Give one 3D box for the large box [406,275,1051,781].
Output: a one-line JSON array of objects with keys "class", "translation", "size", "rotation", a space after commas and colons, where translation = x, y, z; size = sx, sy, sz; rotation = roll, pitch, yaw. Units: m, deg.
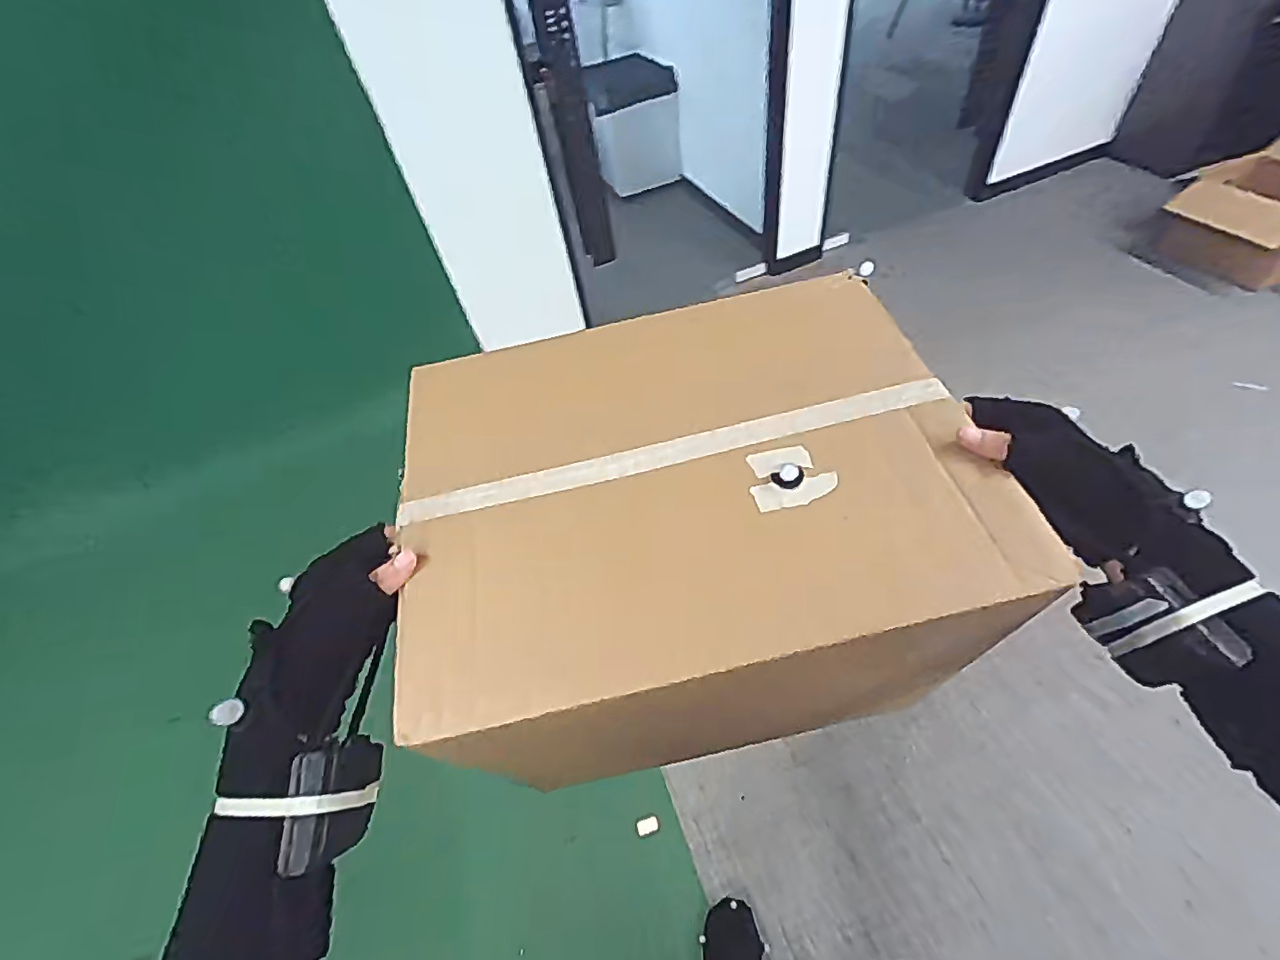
[{"class": "large box", "translation": [0.040, 0.060, 0.522], "size": [0.408, 0.320, 0.320], "rotation": [-12, 56, -2]}]
